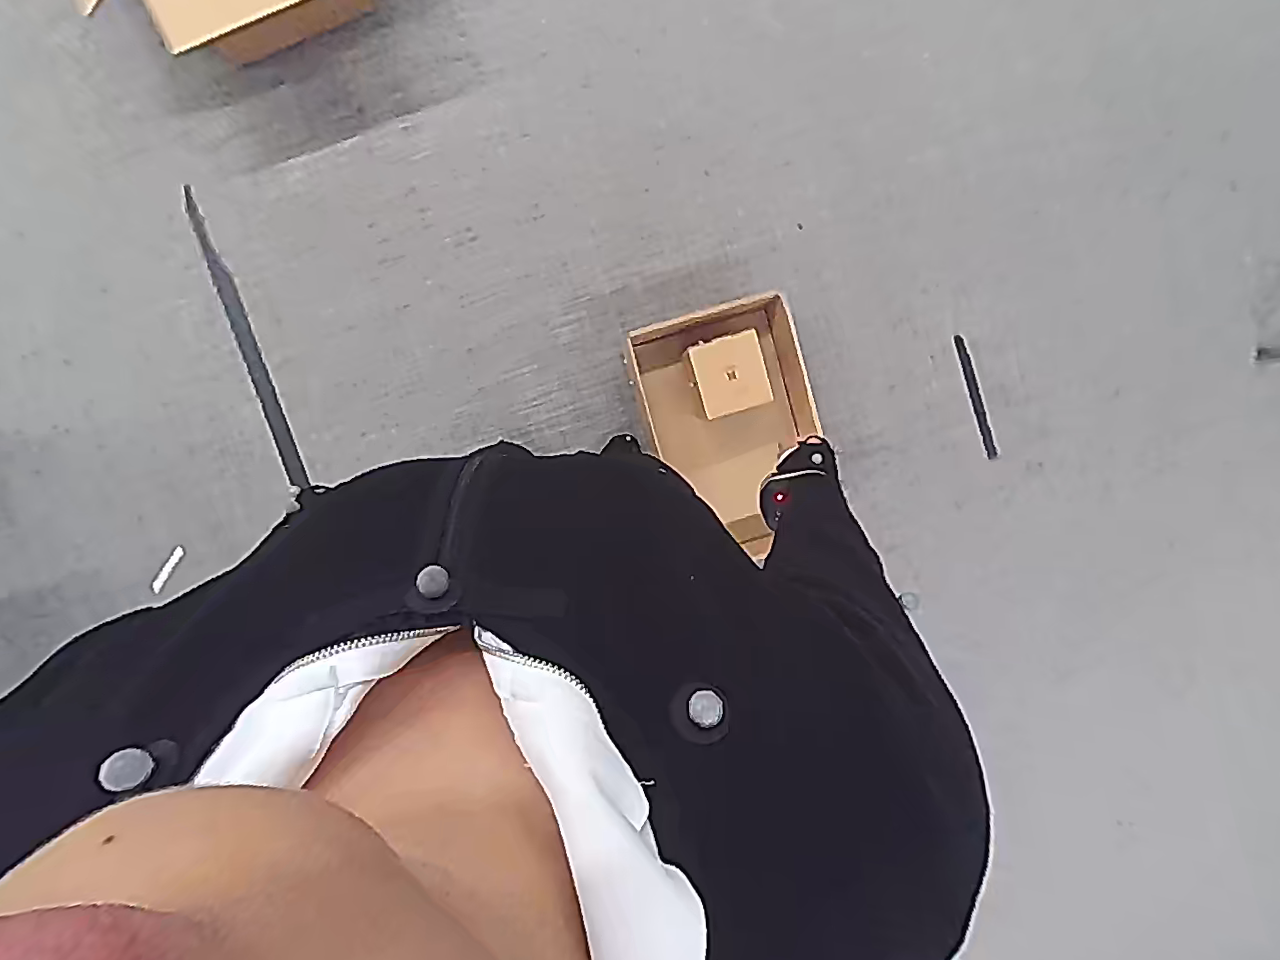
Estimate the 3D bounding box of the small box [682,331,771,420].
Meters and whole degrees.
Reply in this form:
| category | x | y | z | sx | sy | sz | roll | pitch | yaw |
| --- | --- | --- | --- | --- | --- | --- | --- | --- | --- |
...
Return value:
| category | x | y | z | sx | sy | sz | roll | pitch | yaw |
| --- | --- | --- | --- | --- | --- | --- | --- | --- | --- |
| small box | 0.208 | -0.252 | 1.349 | 0.168 | 0.176 | 0.179 | -17 | 97 | 1 |
